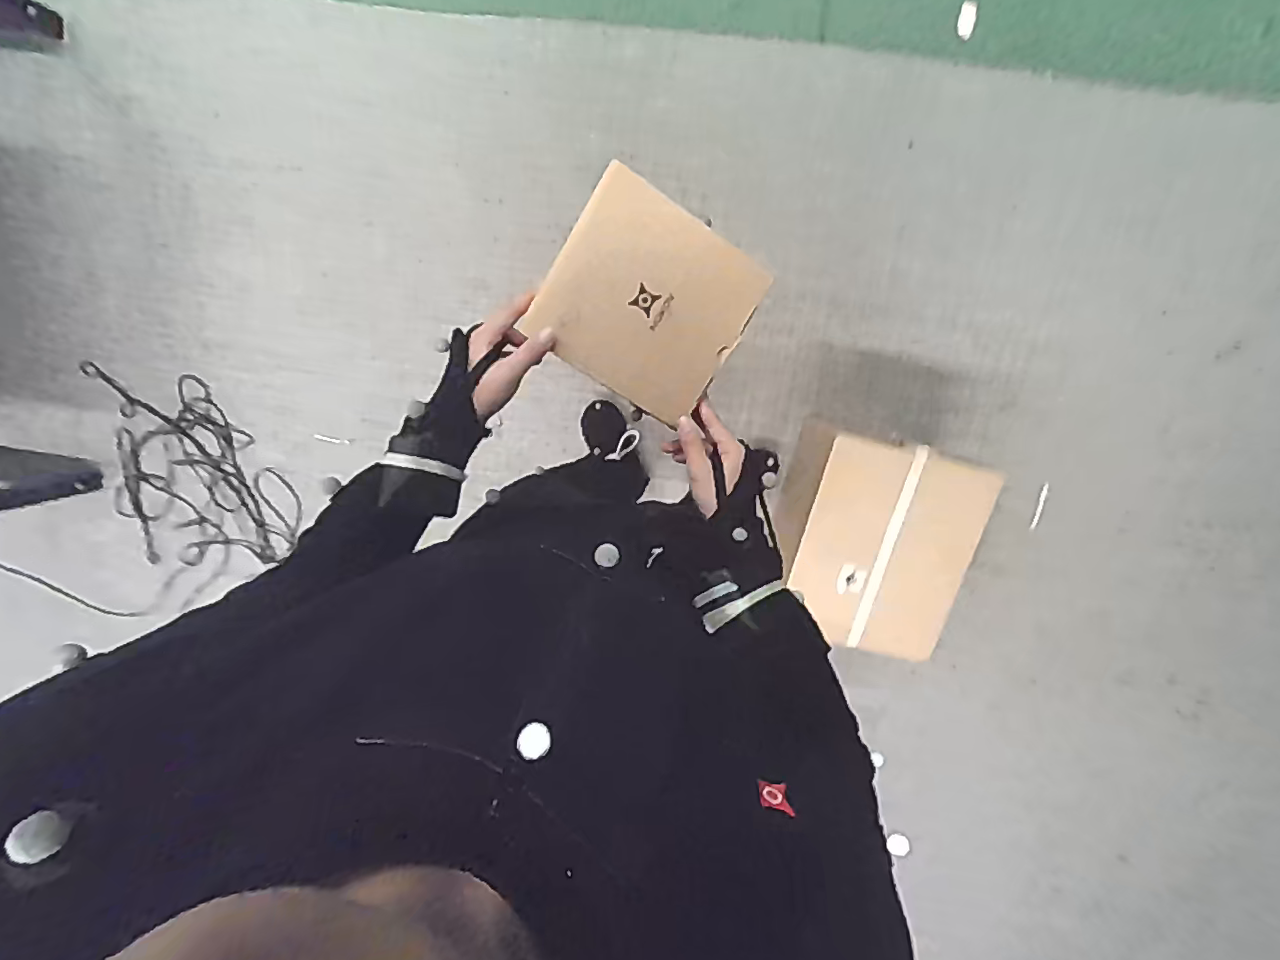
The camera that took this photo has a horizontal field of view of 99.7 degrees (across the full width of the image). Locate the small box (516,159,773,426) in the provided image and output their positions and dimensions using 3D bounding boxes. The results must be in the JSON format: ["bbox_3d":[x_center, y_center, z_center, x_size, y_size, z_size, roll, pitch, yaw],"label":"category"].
[{"bbox_3d":[-0.005,-0.175,0.550,0.179,0.176,0.168,29,99,-14],"label":"small box"}]

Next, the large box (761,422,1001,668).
[{"bbox_3d":[0.480,0.116,1.173,0.320,0.320,0.408,15,104,3],"label":"large box"}]
